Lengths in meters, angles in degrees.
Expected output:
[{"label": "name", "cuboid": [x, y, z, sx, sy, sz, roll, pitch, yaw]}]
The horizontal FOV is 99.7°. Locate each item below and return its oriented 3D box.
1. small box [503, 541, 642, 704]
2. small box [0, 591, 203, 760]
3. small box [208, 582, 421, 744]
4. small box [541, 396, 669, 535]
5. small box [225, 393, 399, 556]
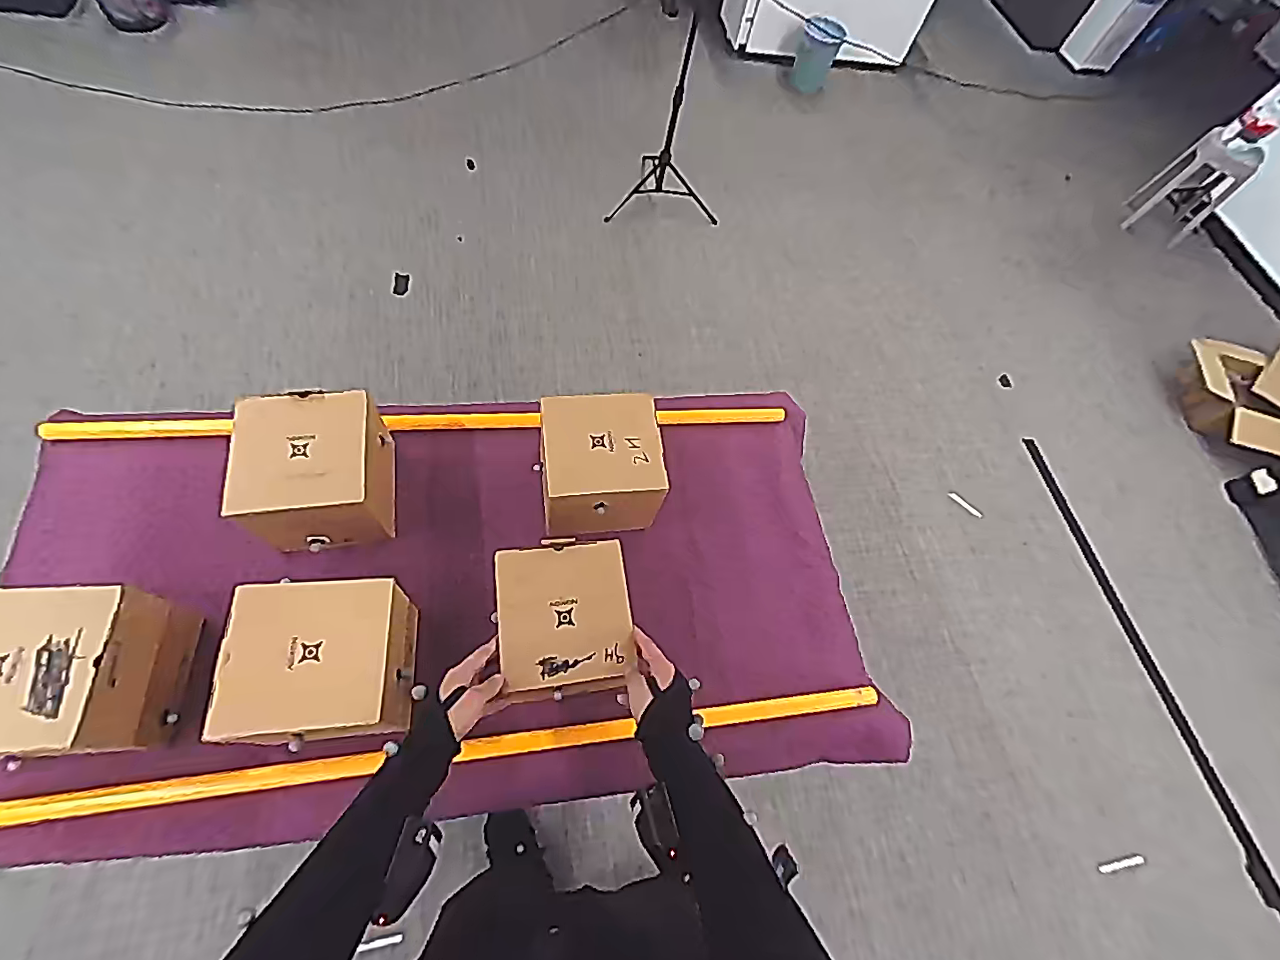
[{"label": "small box", "cuboid": [-0.100, 0.199, 0.746, 0.168, 0.176, 0.179, -4, 64, -11]}, {"label": "small box", "cuboid": [-0.662, 0.230, 0.628, 0.179, 0.176, 0.168, 0, 64, -11]}, {"label": "small box", "cuboid": [-0.384, 0.232, 0.680, 0.179, 0.176, 0.168, -2, 64, -10]}, {"label": "small box", "cuboid": [-0.064, -0.018, 0.863, 0.179, 0.176, 0.168, -3, 66, -12]}, {"label": "small box", "cuboid": [-0.458, -0.005, 0.786, 0.168, 0.176, 0.179, -6, 66, -12]}]
